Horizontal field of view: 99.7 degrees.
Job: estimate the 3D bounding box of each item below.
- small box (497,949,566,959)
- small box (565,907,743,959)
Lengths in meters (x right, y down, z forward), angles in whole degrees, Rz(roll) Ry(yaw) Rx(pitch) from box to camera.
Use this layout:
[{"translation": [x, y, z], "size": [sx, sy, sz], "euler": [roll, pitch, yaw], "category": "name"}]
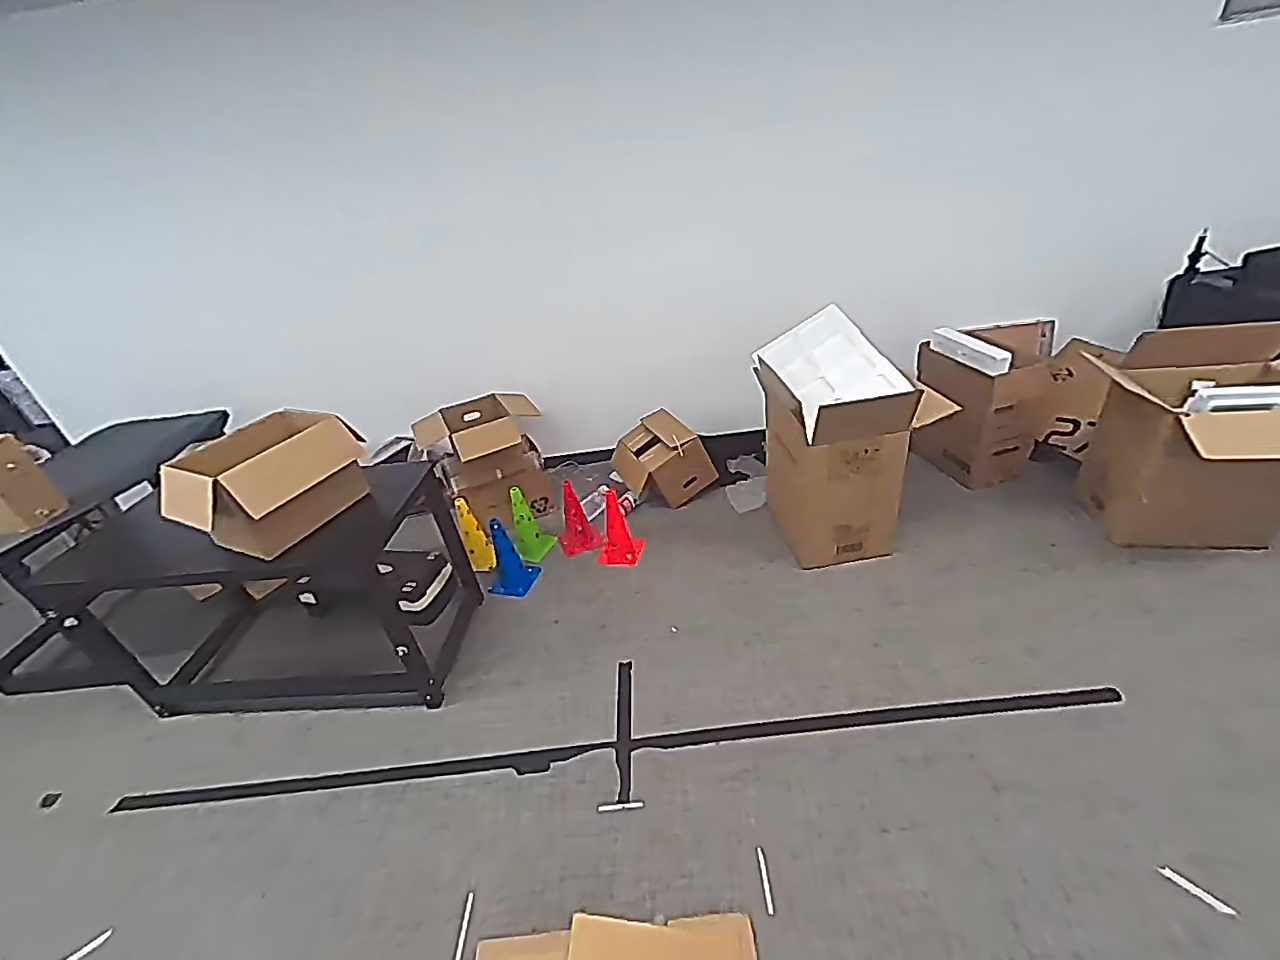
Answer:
[{"translation": [-0.226, 1.172, 1.179], "size": [0.168, 0.176, 0.179], "euler": [-9, 32, 2], "category": "small box"}, {"translation": [0.001, 0.559, 0.532], "size": [0.179, 0.176, 0.168], "euler": [10, 37, -2], "category": "small box"}]
